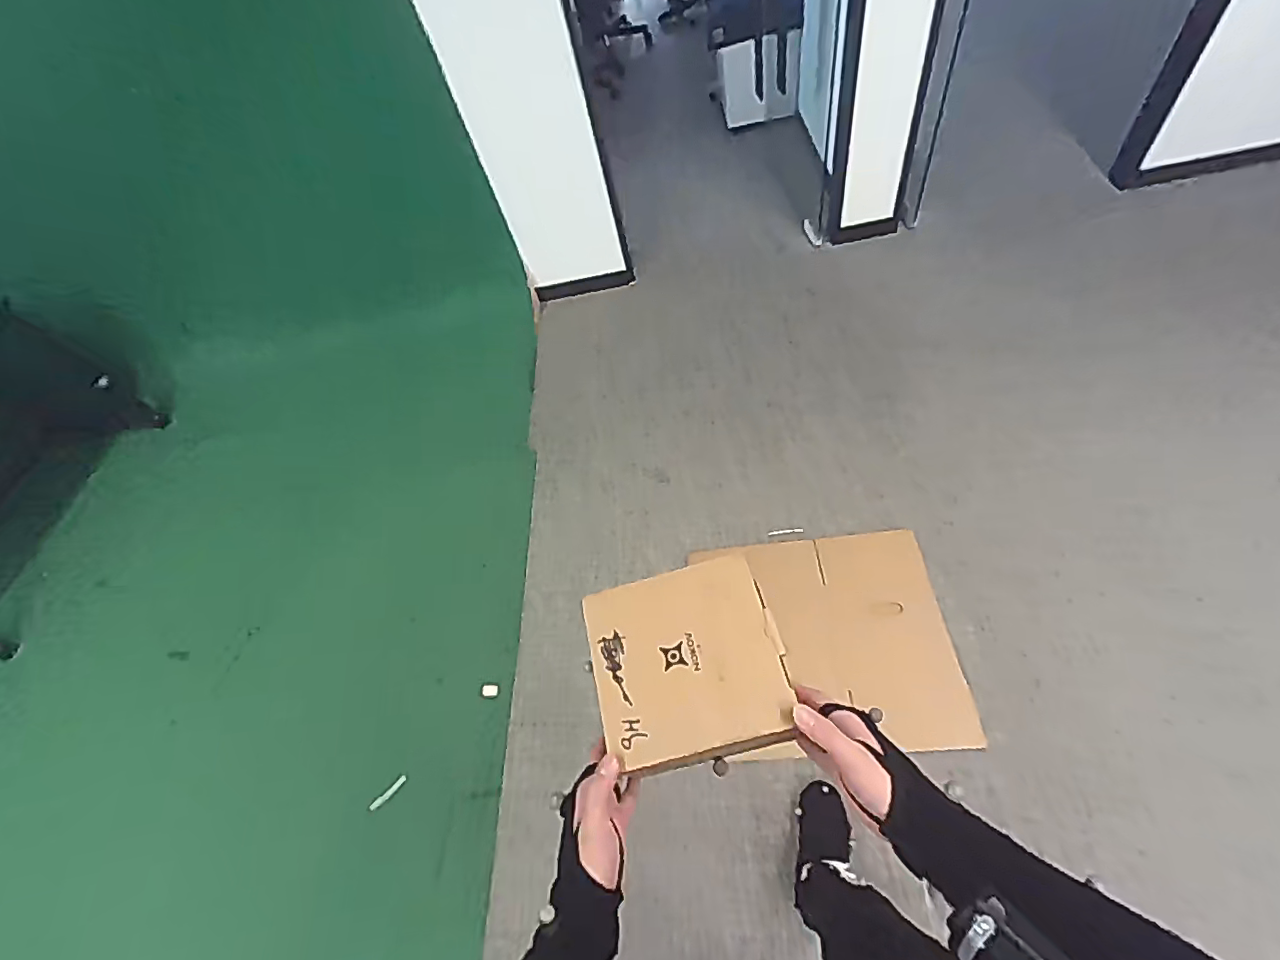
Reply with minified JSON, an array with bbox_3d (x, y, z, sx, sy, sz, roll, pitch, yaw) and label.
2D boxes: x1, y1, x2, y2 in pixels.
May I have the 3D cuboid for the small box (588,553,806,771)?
[{"bbox_3d":[0.058,0.200,0.576,0.179,0.176,0.168,-15,58,3],"label":"small box"}]
